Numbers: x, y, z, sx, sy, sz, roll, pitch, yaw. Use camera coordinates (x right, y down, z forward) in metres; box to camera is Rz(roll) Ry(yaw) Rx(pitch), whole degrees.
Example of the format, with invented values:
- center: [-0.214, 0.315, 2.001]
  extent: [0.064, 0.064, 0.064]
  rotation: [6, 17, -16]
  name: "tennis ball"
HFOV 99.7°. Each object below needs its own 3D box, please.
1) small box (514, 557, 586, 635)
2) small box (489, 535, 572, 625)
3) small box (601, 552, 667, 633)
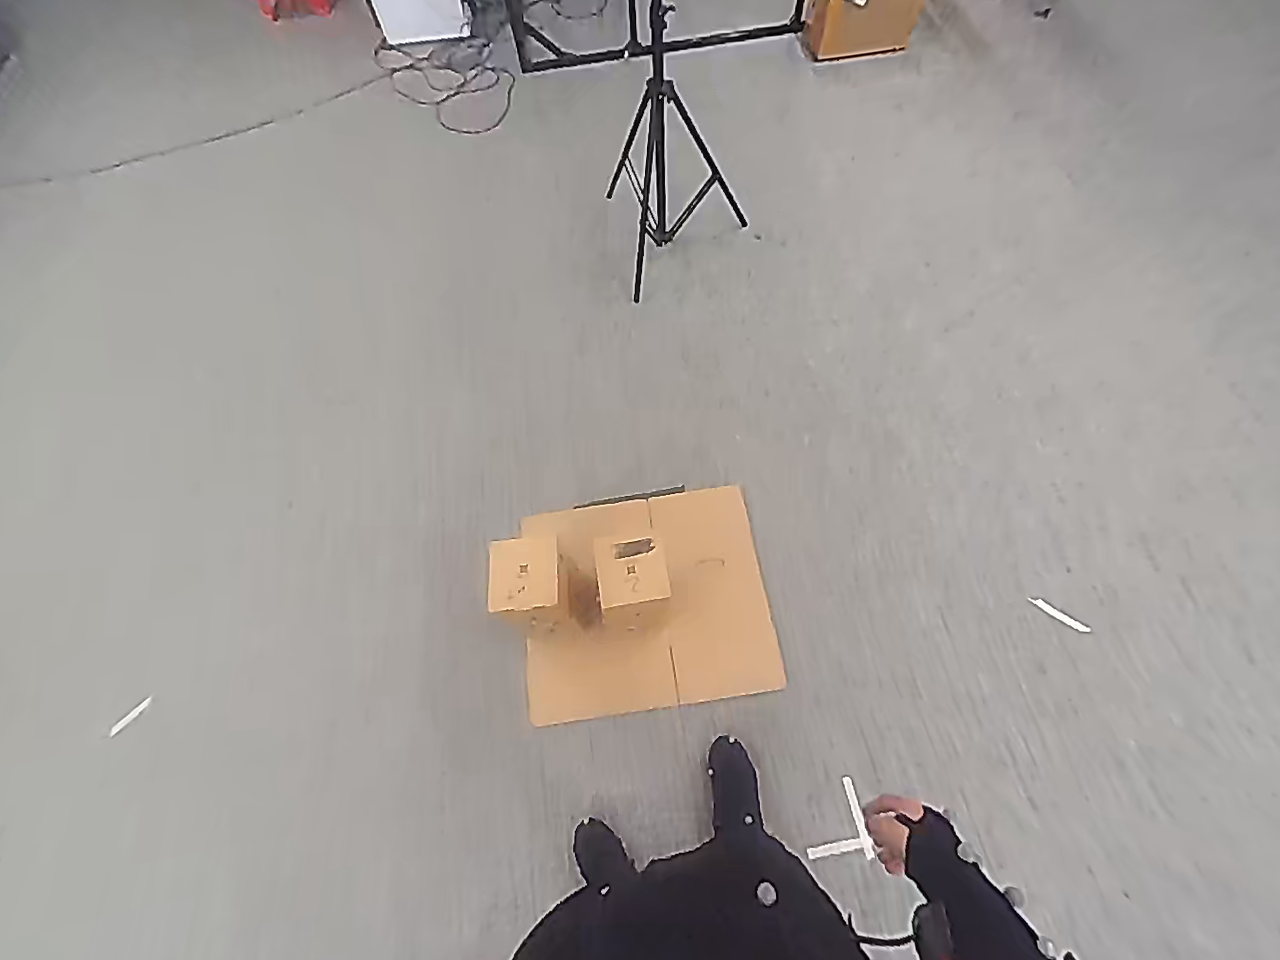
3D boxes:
- center: [-0.244, 0.326, 1.489]
  extent: [0.168, 0.176, 0.179]
  rotation: [-7, 65, 1]
  name: "small box"
- center: [-0.265, 0.251, 1.343]
  extent: [0.168, 0.176, 0.179]
  rotation: [-6, 65, 2]
  name: "small box"
- center: [-0.014, 0.310, 1.481]
  extent: [0.168, 0.176, 0.179]
  rotation: [-5, 64, 1]
  name: "small box"
